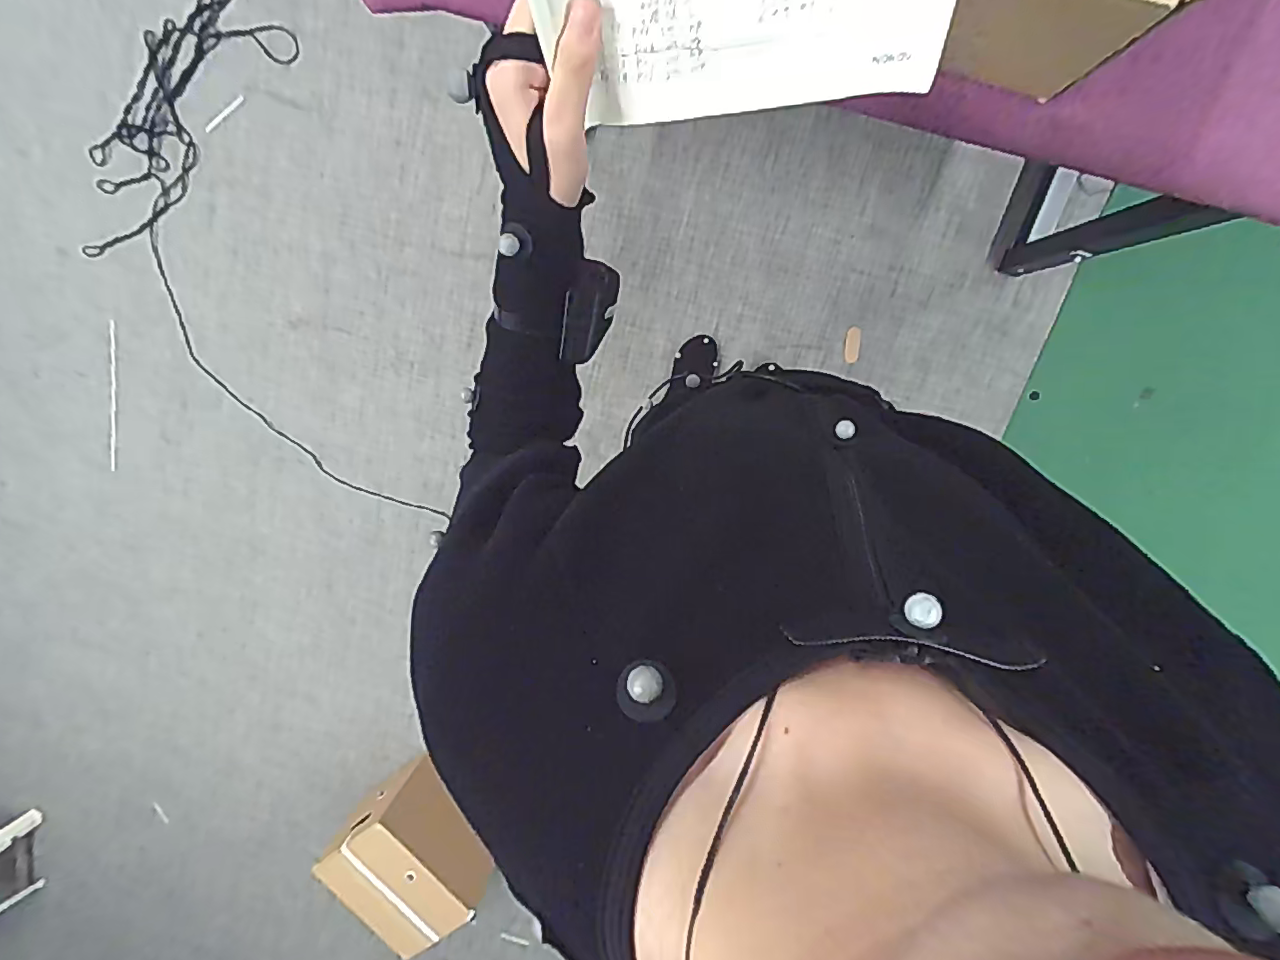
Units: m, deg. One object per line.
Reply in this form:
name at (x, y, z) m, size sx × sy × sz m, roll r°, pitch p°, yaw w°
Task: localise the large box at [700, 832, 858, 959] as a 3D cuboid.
large box at (0.383, 1.306, 1.601) m, size 0.408 × 0.320 × 0.320 m, roll 2°, pitch 103°, yaw 5°
